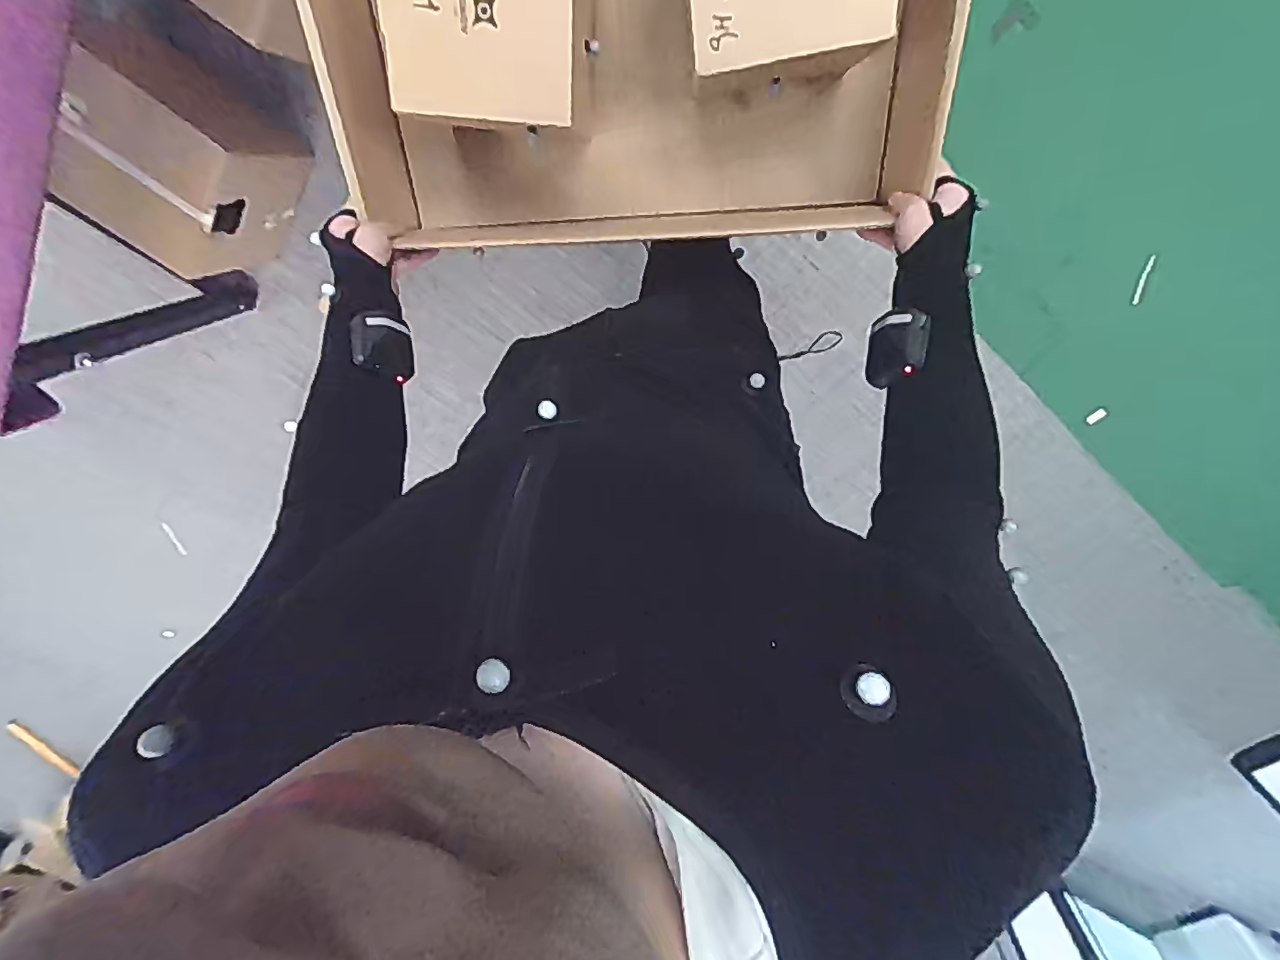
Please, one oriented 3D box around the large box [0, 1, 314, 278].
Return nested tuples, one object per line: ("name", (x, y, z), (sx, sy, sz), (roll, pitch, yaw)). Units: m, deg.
("large box", (-1.044, -0.722, 1.206), (0.408, 0.320, 0.320), (35, 116, -14))
